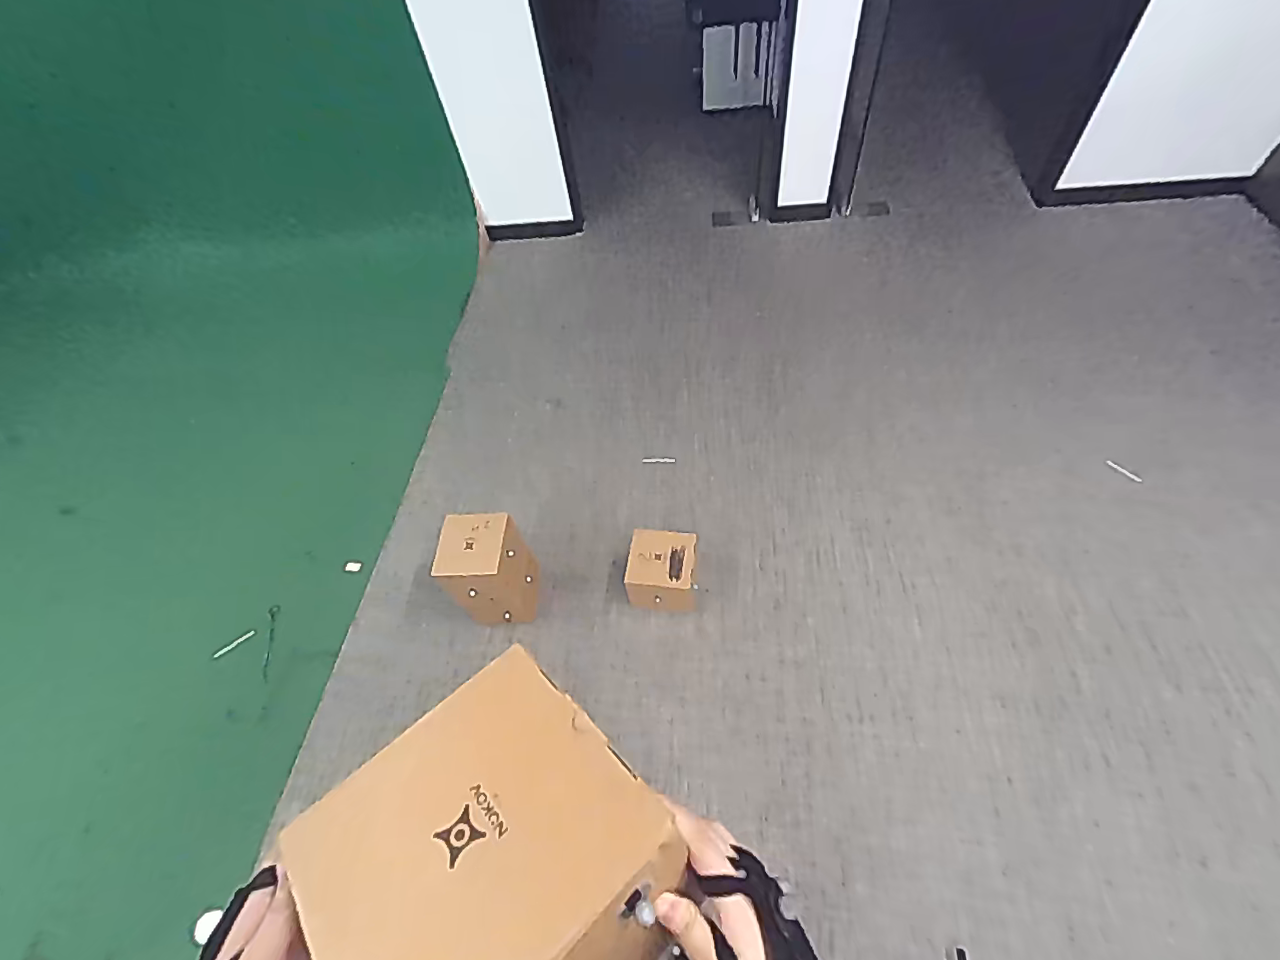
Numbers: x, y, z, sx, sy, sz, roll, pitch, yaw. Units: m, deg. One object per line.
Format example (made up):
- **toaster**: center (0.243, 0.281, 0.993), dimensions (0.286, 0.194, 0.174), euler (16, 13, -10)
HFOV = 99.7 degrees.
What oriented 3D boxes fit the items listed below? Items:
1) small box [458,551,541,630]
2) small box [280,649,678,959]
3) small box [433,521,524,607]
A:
- **small box**: center (-0.391, 0.317, 1.541), dimensions (0.168, 0.176, 0.179), euler (-1, 54, 6)
- **small box**: center (-0.092, 0.262, 0.366), dimensions (0.179, 0.176, 0.168), euler (-35, 44, -25)
- **small box**: center (-0.410, 0.223, 1.407), dimensions (0.168, 0.176, 0.179), euler (-1, 54, 5)
